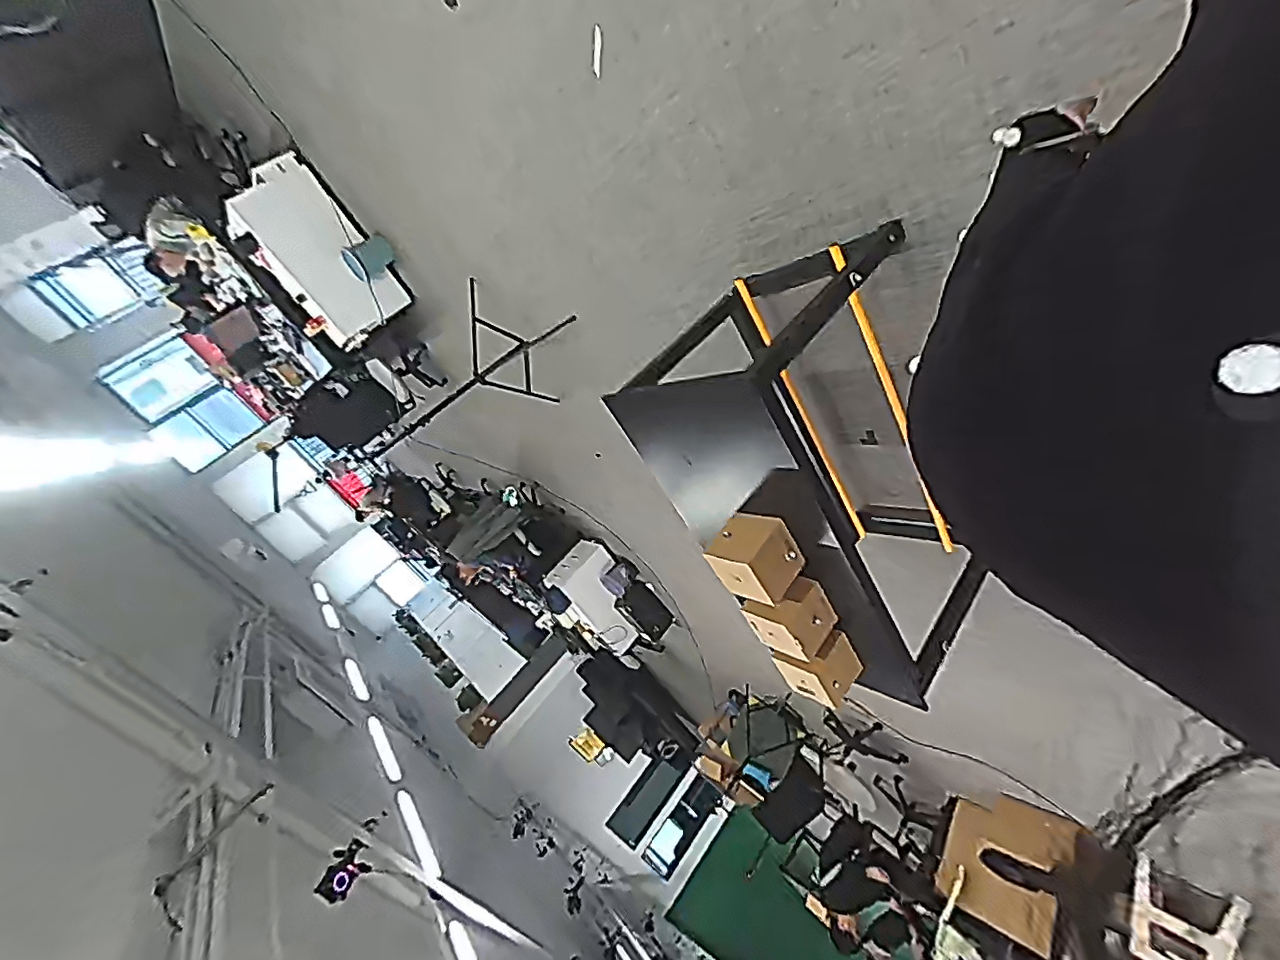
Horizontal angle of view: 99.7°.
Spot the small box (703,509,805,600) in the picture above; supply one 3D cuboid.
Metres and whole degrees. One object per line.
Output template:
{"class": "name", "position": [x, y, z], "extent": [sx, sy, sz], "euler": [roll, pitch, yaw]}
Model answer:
{"class": "small box", "position": [0.313, 0.196, 1.477], "extent": [0.179, 0.176, 0.168], "euler": [4, 136, 55]}

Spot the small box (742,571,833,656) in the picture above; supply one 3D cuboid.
{"class": "small box", "position": [0.437, 0.375, 1.574], "extent": [0.179, 0.176, 0.168], "euler": [6, 135, 55]}

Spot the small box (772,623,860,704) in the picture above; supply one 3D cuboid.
{"class": "small box", "position": [0.551, 0.548, 1.678], "extent": [0.168, 0.176, 0.179], "euler": [6, 136, 54]}
